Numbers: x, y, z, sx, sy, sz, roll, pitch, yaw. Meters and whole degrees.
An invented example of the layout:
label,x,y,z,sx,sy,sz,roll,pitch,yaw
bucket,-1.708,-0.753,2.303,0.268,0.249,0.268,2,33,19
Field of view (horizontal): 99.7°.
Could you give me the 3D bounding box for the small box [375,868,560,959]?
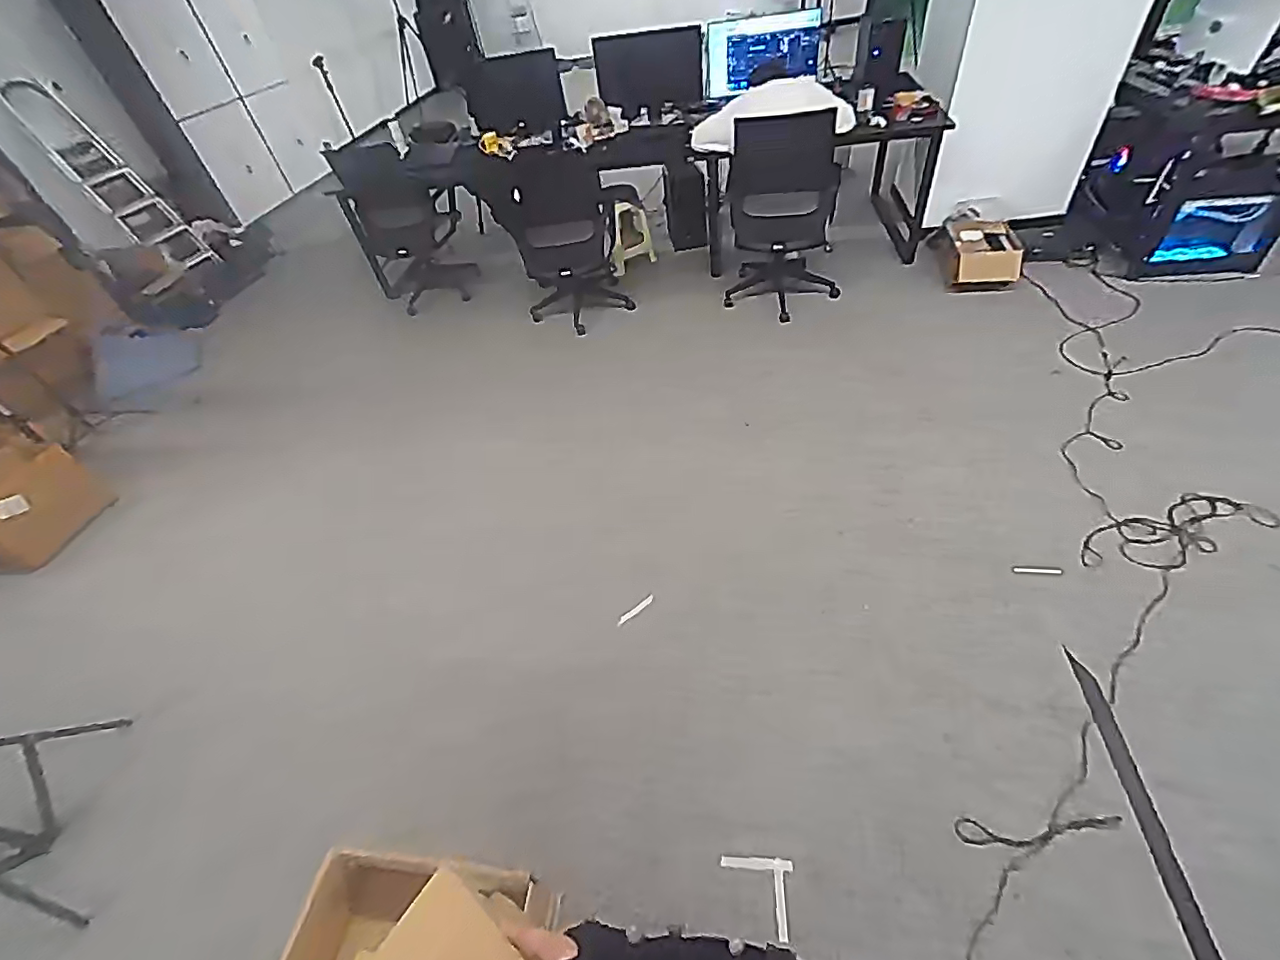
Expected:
label,x,y,z,sx,sy,sz,roll,pitch,yaw
small box,-0.178,0.568,0.569,0.179,0.176,0.168,13,50,39
